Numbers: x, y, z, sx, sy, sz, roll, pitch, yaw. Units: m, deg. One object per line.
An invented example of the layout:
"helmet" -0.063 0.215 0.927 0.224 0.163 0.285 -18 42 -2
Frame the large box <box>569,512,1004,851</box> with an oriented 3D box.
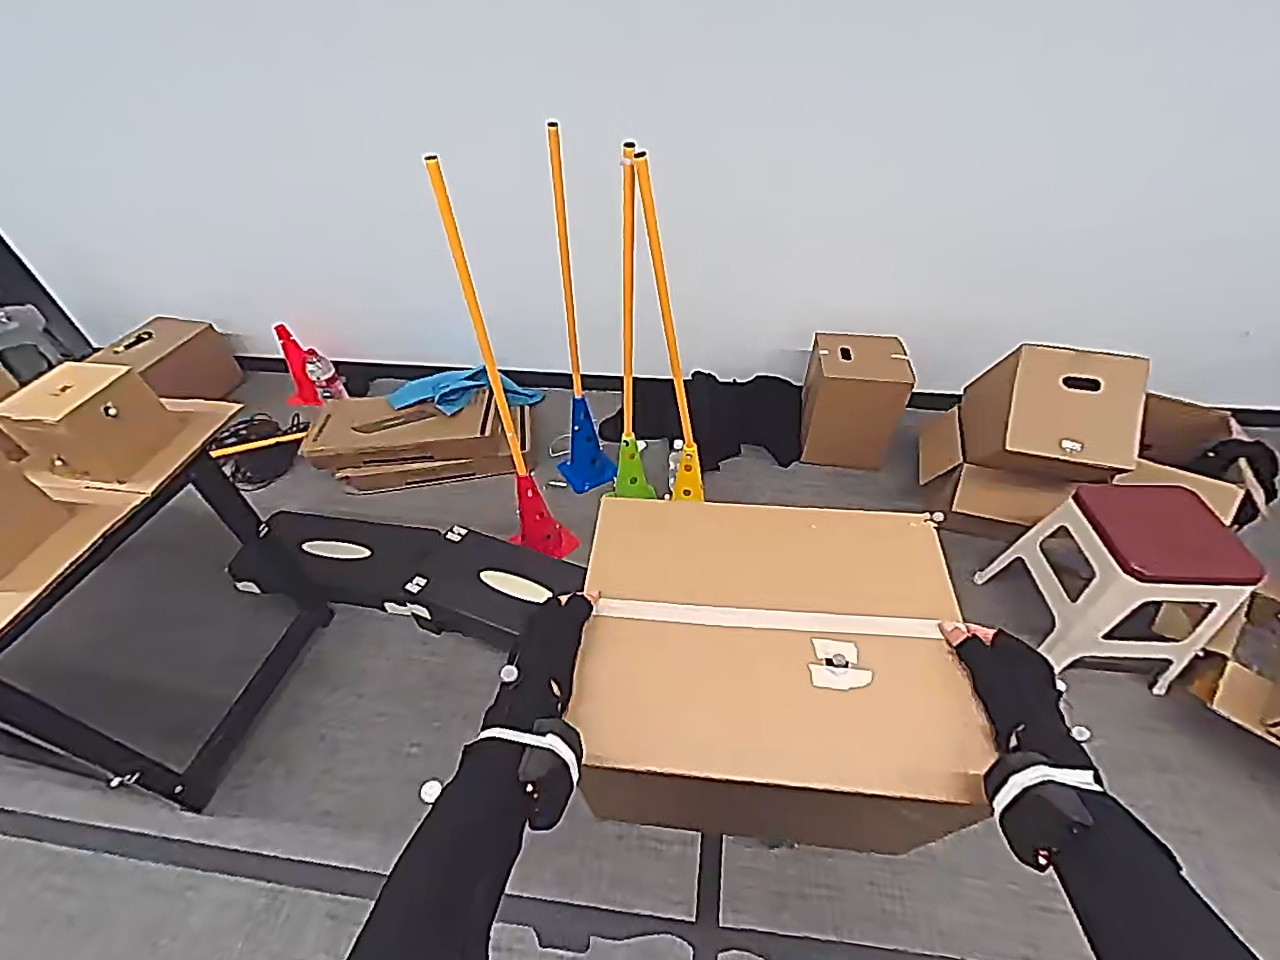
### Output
"large box" 0.145 0.261 0.702 0.408 0.320 0.320 3 50 6
